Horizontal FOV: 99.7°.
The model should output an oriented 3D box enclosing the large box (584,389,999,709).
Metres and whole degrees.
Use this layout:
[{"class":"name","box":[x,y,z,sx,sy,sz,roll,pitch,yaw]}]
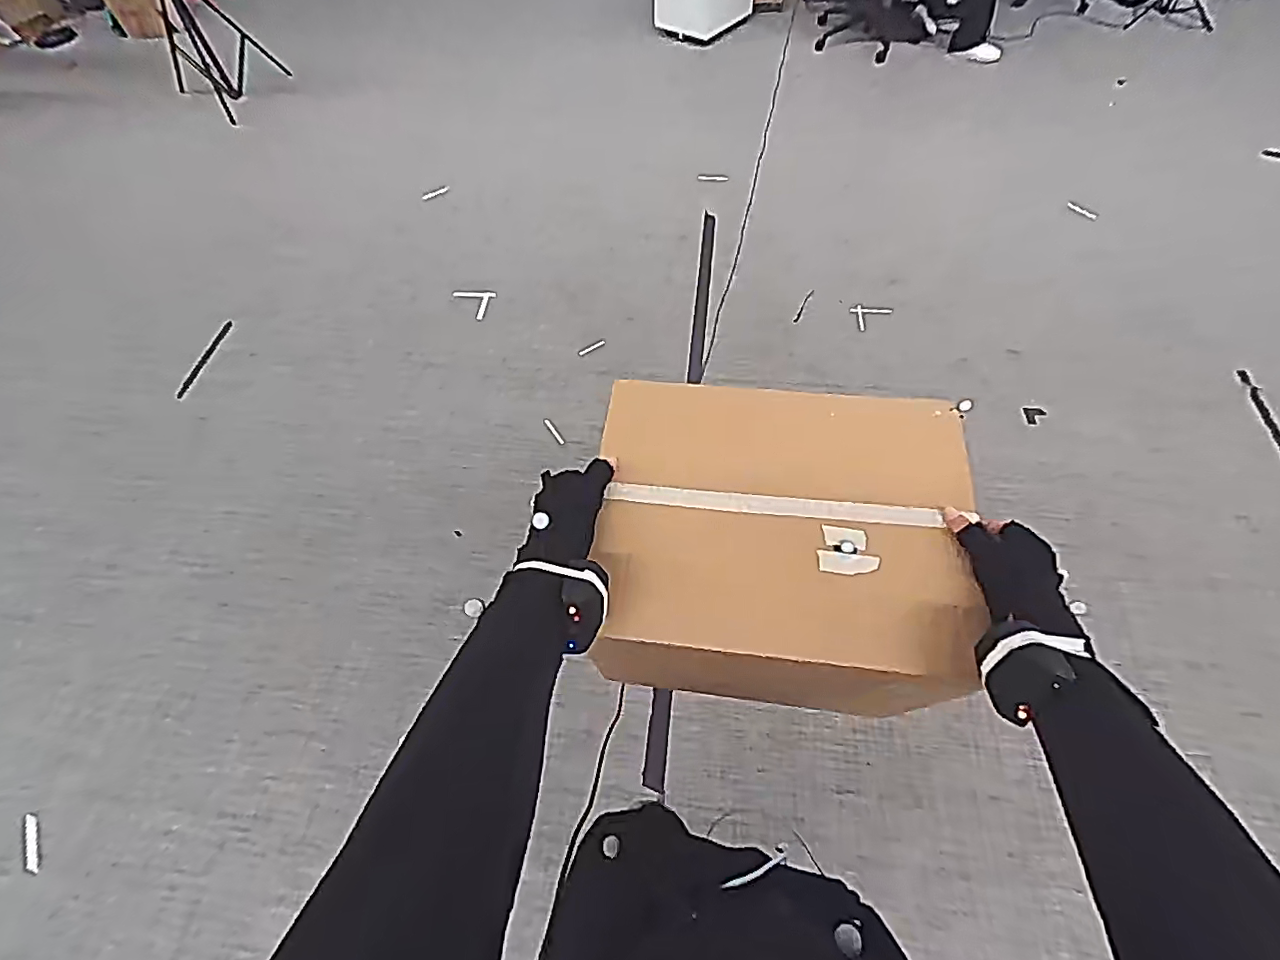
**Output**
[{"class":"large box","box":[0.163,0.103,0.720,0.408,0.320,0.320,5,63,7]}]
